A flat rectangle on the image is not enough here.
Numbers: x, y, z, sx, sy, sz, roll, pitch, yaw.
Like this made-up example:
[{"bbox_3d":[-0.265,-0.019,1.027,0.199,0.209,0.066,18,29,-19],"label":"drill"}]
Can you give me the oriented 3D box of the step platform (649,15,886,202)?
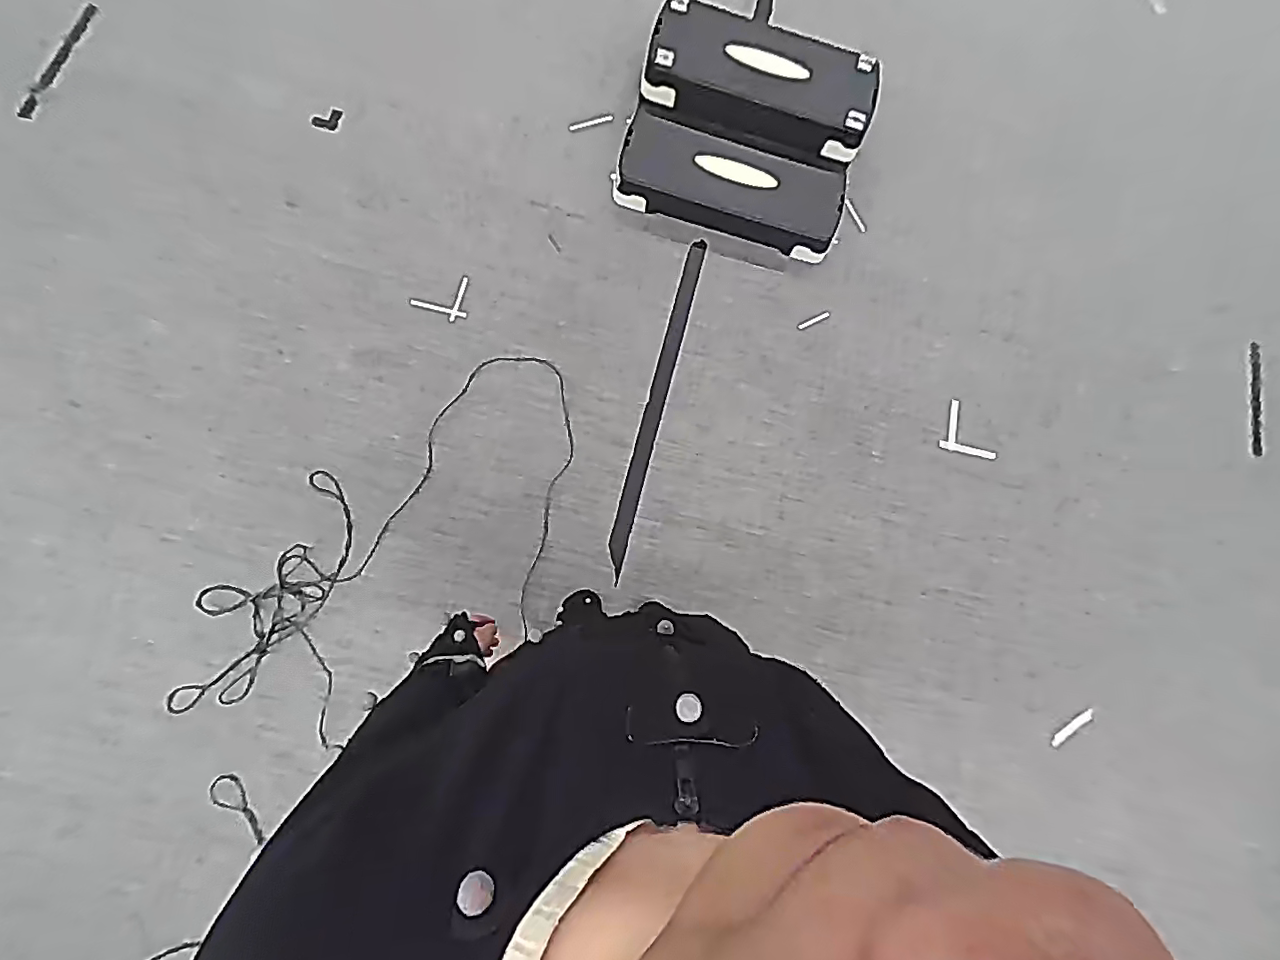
[{"bbox_3d":[0.382,-1.121,1.644,0.684,0.204,0.286,19,77,-2],"label":"step platform"}]
